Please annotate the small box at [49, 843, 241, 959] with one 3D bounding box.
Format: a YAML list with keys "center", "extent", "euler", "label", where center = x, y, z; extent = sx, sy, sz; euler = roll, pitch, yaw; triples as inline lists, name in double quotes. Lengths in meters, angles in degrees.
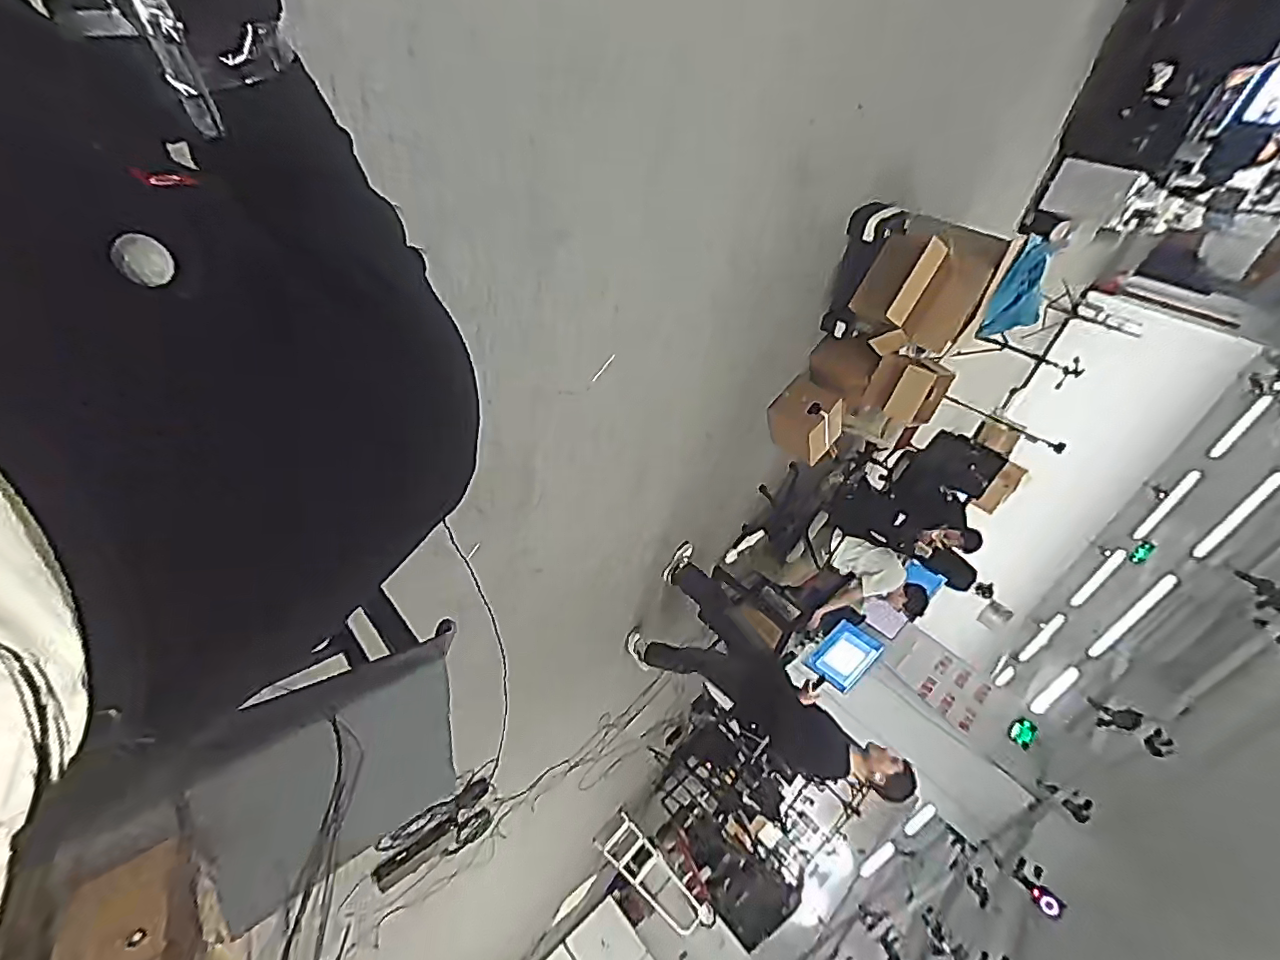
- center: [-0.778, 0.731, 0.858]
  extent: [0.179, 0.176, 0.168]
  euler: [-22, 137, -39]
  label: "small box"

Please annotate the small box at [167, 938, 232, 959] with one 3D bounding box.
- center: [-0.670, 0.817, 0.774]
  extent: [0.168, 0.176, 0.179]
  euler: [-24, 137, -41]
  label: "small box"
